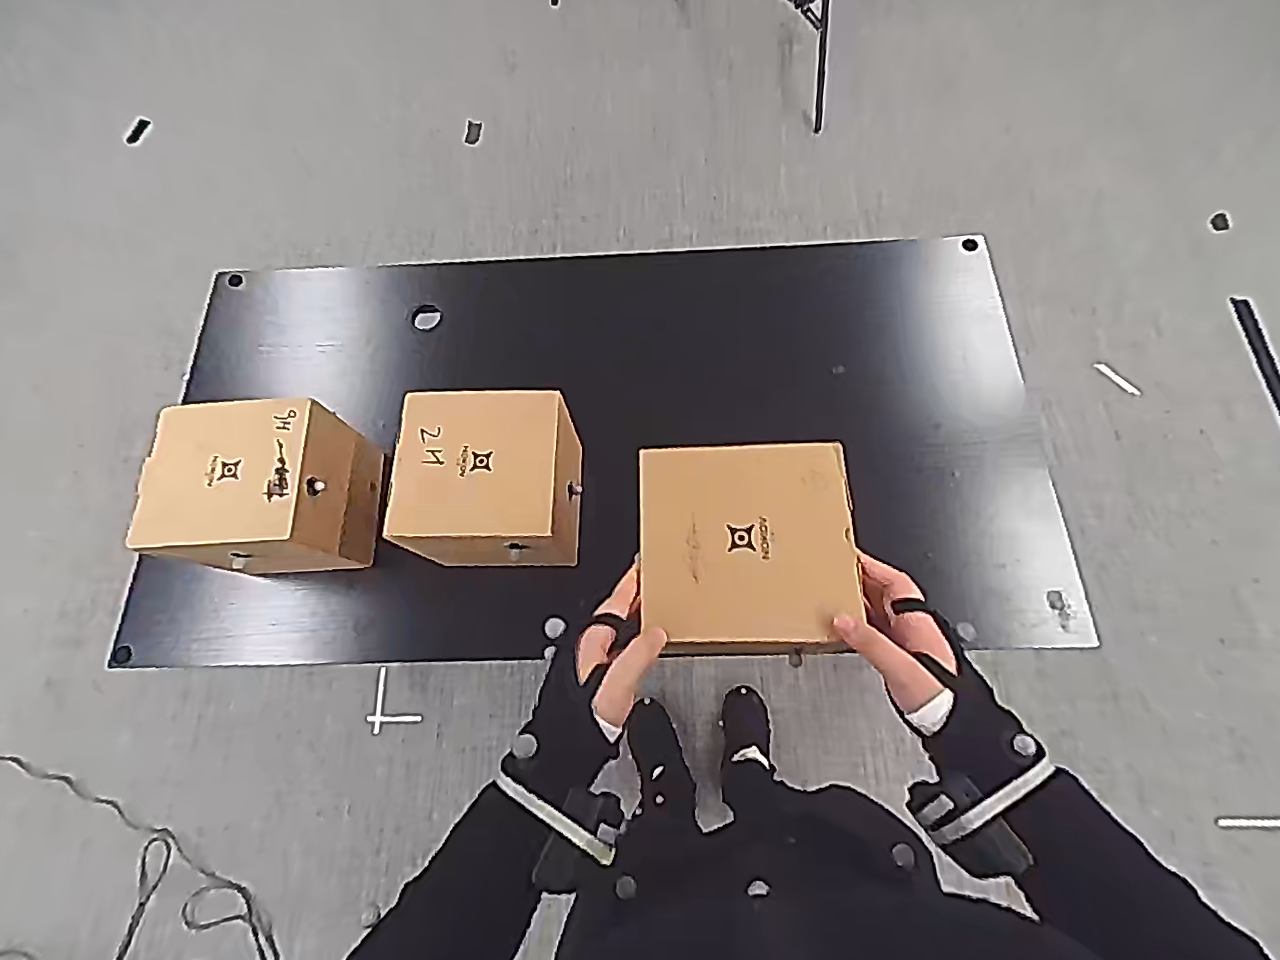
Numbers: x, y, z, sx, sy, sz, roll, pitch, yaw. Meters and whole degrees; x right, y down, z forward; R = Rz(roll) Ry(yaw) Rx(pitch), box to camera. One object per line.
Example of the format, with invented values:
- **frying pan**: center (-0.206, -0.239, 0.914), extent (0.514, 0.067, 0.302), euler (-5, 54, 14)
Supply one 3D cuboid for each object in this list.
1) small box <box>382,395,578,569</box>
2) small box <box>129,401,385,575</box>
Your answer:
- **small box**: center (-0.172, 0.010, 0.648), extent (0.179, 0.176, 0.168), euler (-1, 71, 3)
- **small box**: center (-0.445, 0.019, 0.660), extent (0.179, 0.176, 0.168), euler (-4, 71, 2)
